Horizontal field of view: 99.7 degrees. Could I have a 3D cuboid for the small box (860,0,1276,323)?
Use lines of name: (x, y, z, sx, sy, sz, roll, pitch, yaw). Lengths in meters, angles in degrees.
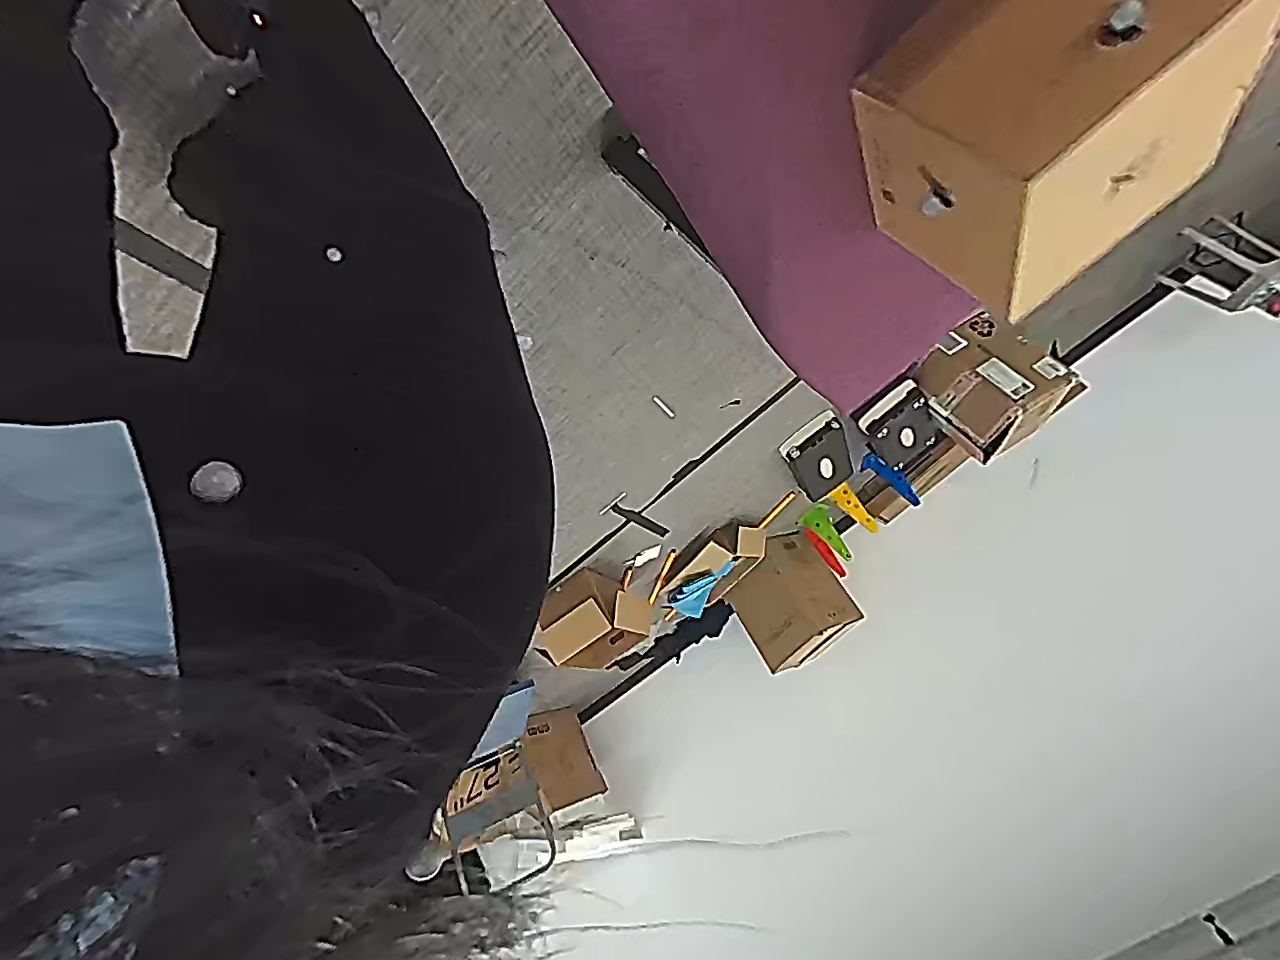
small box: (0.294, -0.267, 0.419, 0.179, 0.176, 0.168, -41, 148, 13)
